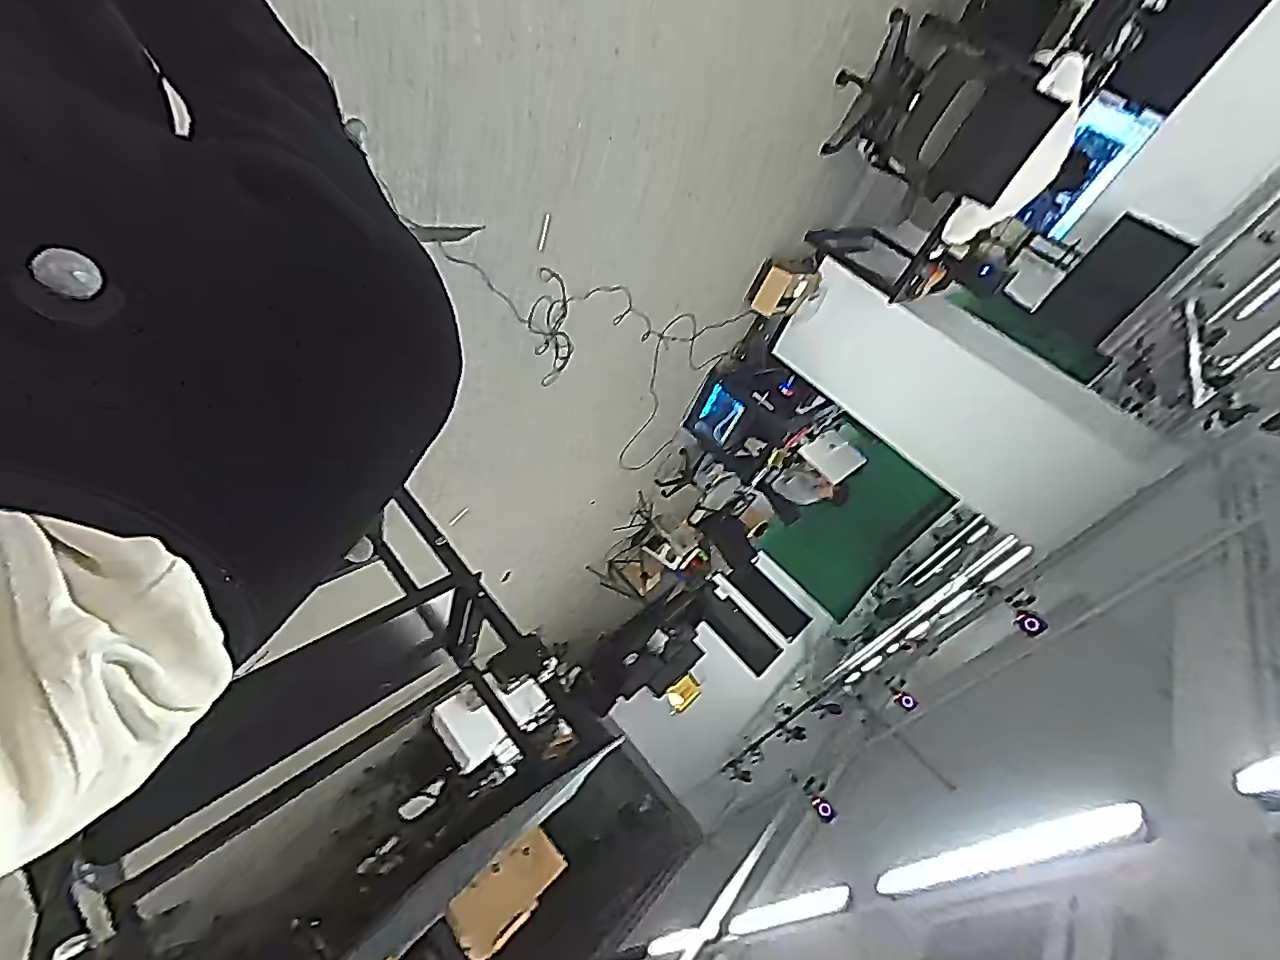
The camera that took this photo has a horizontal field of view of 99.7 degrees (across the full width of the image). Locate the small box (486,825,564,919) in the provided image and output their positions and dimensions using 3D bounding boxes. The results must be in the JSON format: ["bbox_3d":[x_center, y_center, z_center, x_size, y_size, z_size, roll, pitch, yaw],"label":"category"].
[{"bbox_3d":[-0.374,1.251,1.731,0.168,0.176,0.179,-27,152,-41],"label":"small box"}]
